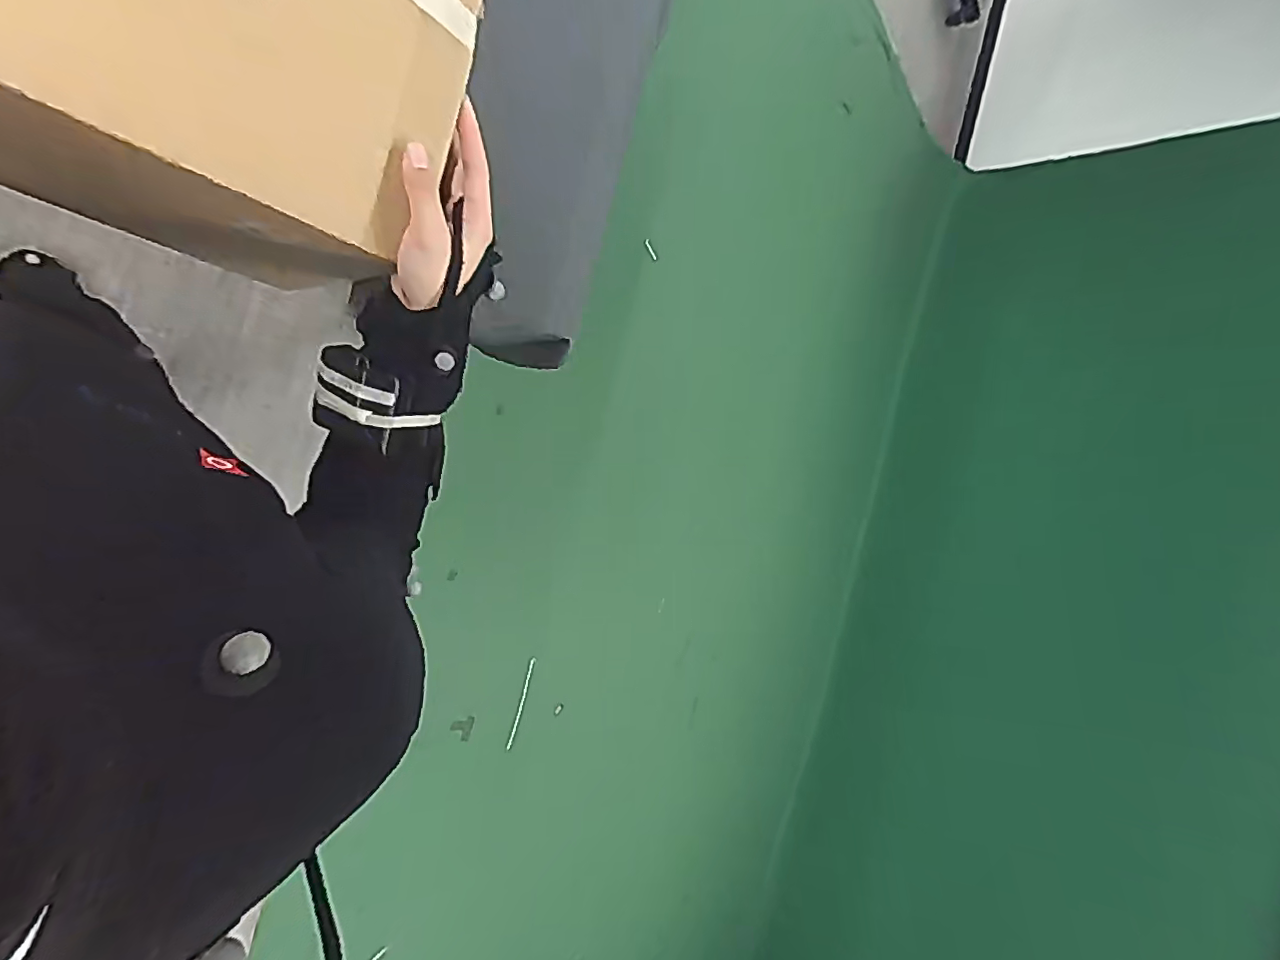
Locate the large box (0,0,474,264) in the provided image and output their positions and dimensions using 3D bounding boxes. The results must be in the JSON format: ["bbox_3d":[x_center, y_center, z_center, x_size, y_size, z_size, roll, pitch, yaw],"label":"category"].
[{"bbox_3d":[-0.352,-0.366,0.313,0.408,0.320,0.320,13,93,-49],"label":"large box"}]
